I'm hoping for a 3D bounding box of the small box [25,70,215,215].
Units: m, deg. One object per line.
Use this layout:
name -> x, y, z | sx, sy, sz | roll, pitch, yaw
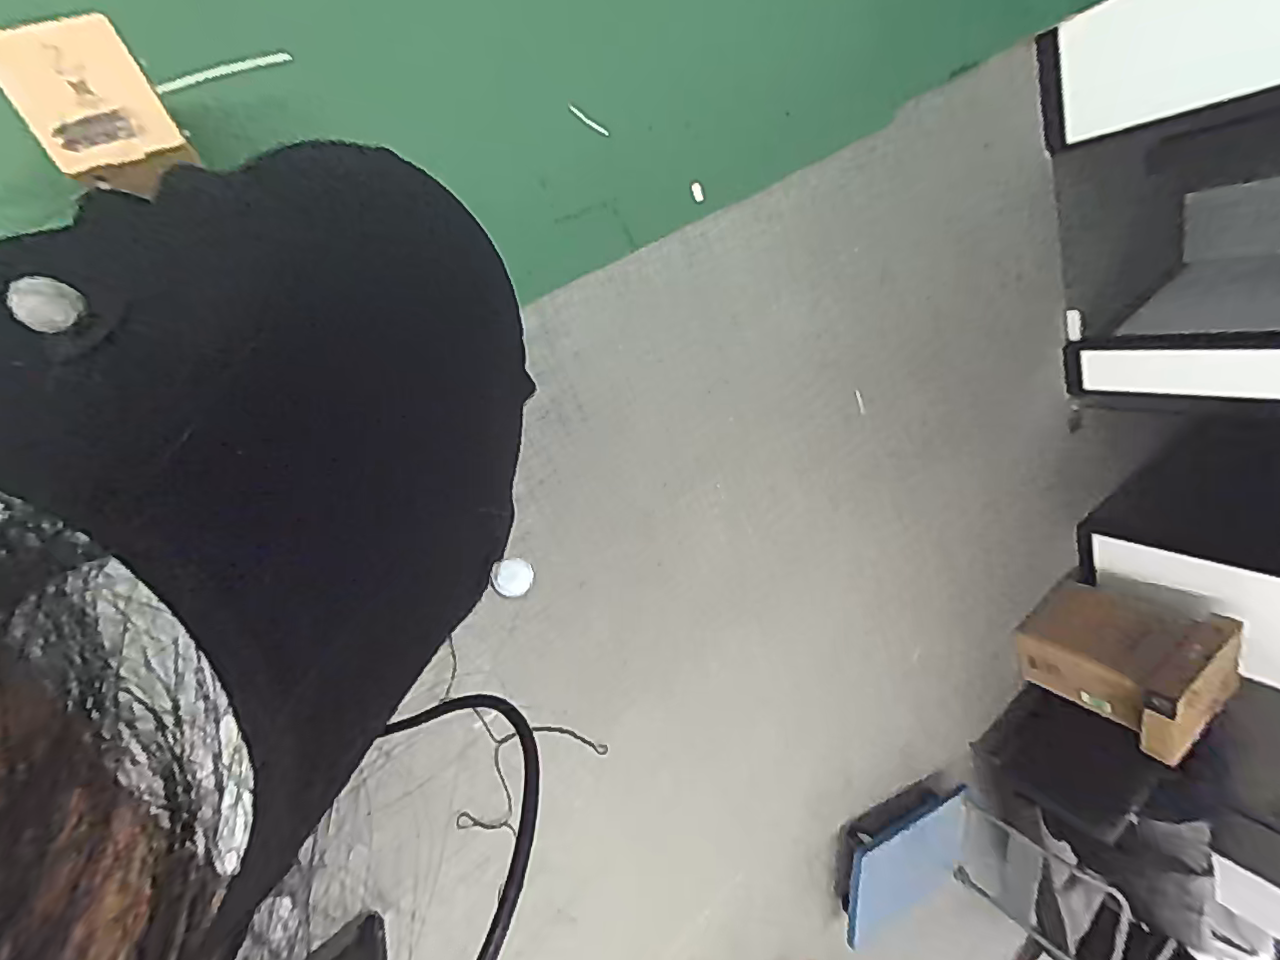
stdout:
small box -> -0.925, -0.602, 0.988 | 0.168, 0.176, 0.179 | -30, 115, -20
